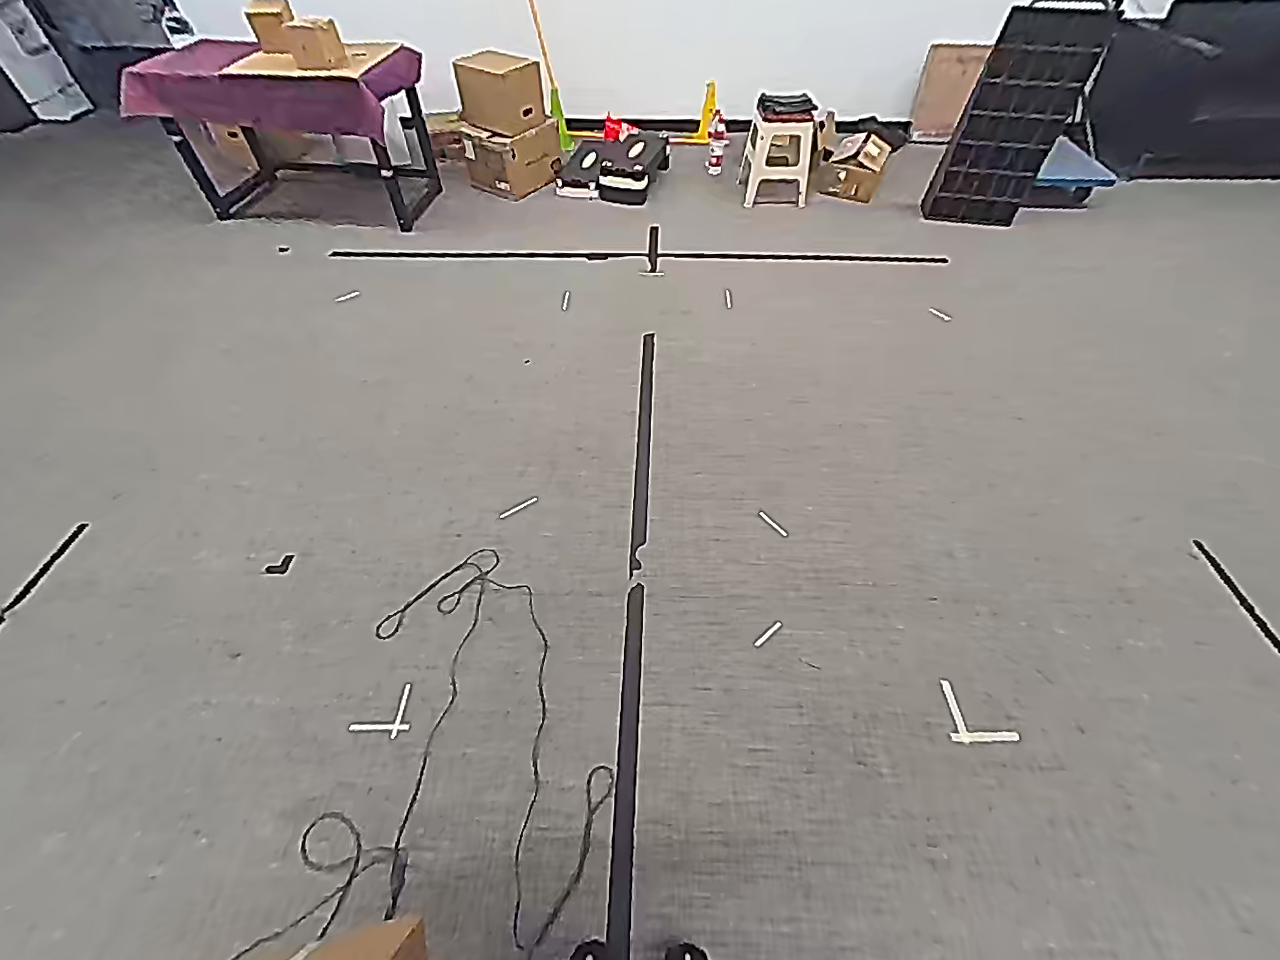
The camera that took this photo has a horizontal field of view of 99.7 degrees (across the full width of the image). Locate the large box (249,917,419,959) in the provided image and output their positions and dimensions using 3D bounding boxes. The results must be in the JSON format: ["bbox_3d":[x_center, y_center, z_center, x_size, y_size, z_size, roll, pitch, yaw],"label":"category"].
[{"bbox_3d":[-0.446,0.786,0.585,0.320,0.408,0.320,-14,75,-5],"label":"large box"}]
